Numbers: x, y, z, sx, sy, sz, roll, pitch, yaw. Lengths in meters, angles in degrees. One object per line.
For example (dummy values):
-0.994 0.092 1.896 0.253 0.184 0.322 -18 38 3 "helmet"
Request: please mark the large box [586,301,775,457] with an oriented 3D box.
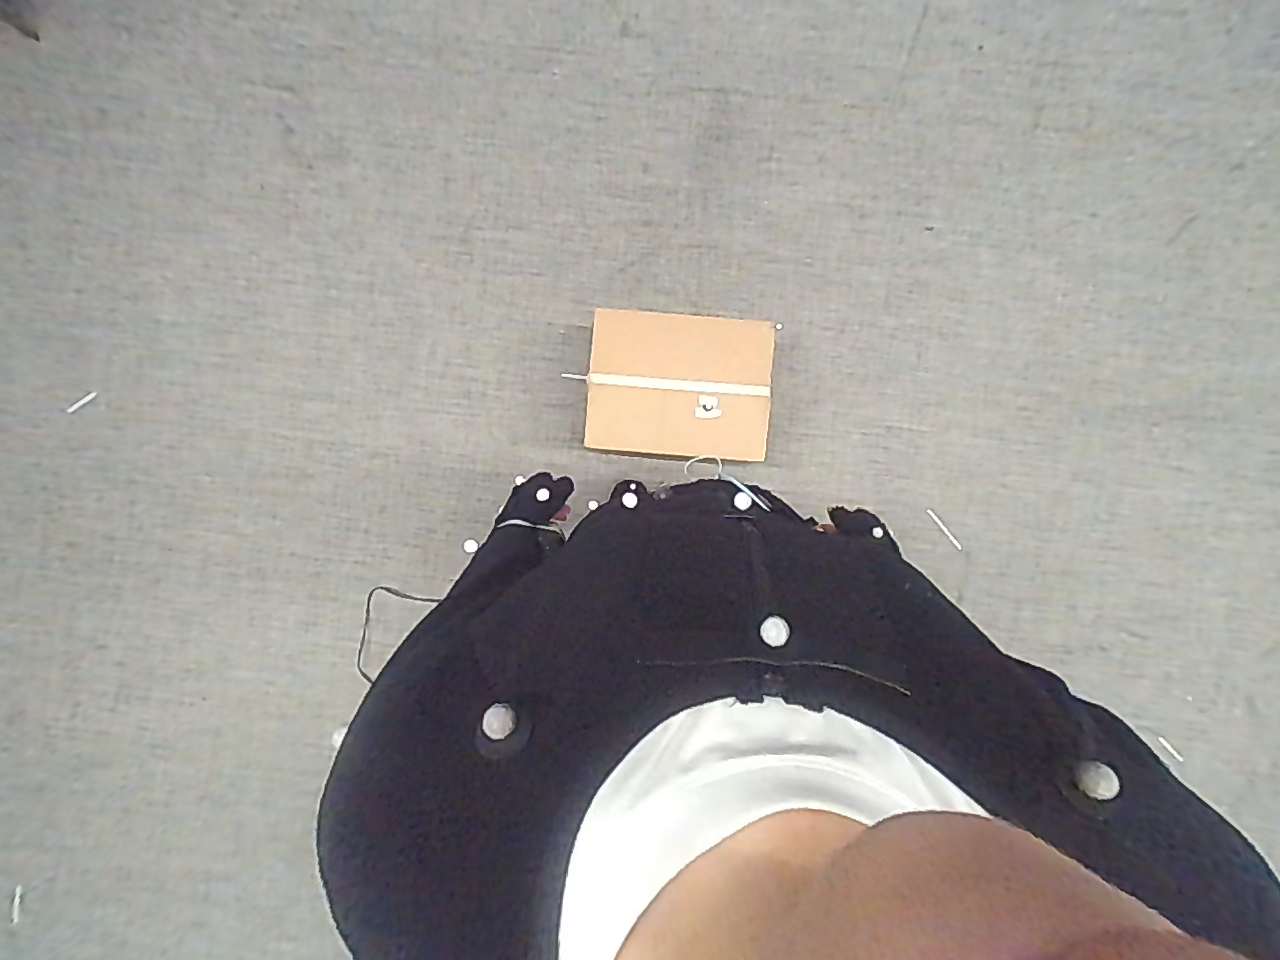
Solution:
0.086 -0.228 1.338 0.408 0.320 0.320 5 91 0 "large box"
